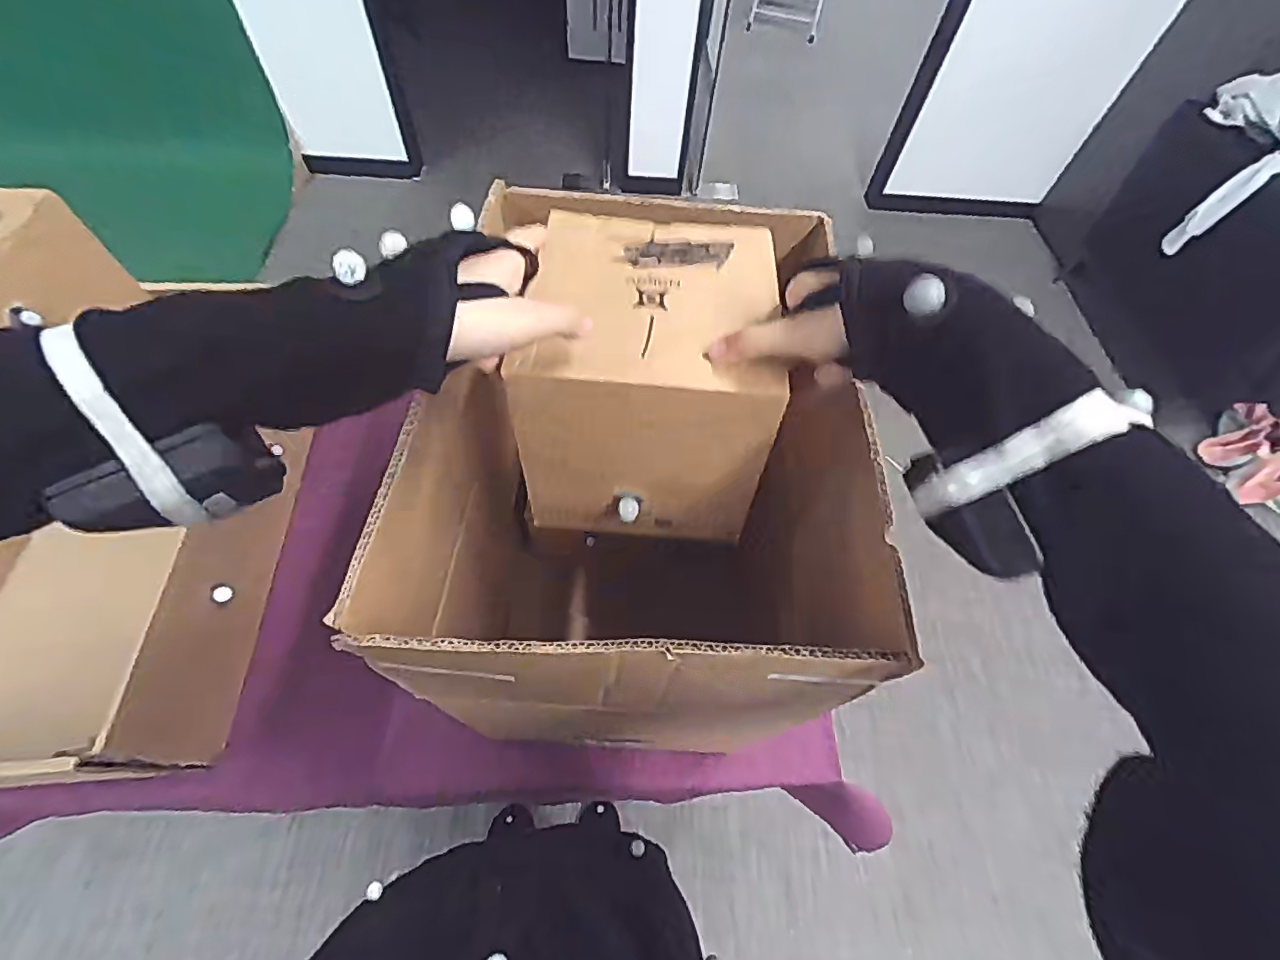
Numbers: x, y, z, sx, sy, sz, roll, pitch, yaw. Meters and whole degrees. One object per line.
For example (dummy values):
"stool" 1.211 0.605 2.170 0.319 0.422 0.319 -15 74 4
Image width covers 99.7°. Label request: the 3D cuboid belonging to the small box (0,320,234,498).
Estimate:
"small box" -0.687 -0.086 0.712 0.168 0.176 0.179 1 59 -3
